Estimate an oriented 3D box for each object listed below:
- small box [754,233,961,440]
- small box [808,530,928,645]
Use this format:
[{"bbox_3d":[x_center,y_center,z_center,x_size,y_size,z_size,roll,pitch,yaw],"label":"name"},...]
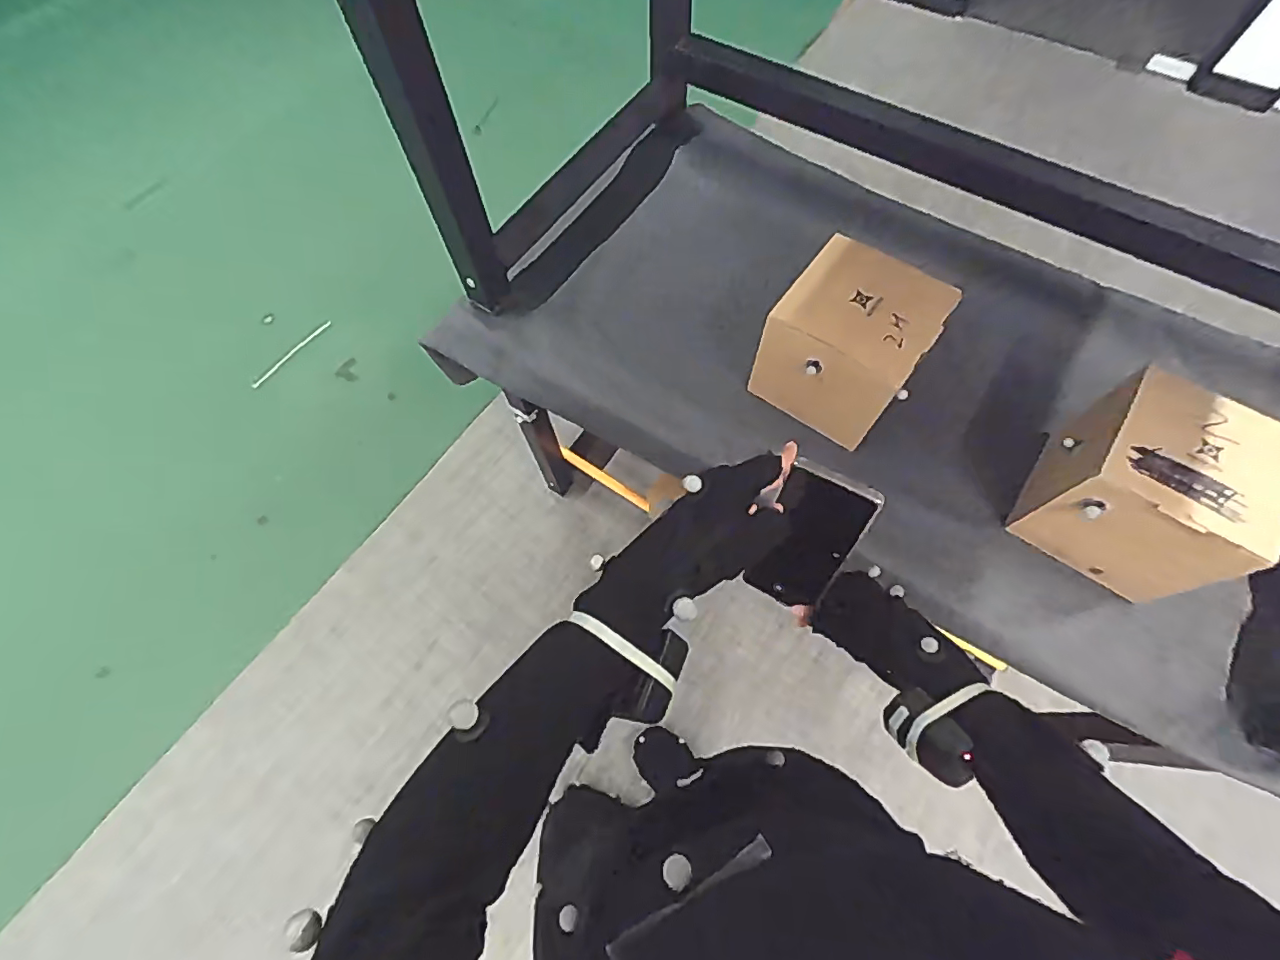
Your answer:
[{"bbox_3d":[0.273,-0.182,0.722,0.179,0.176,0.168,34,72,15],"label":"small box"},{"bbox_3d":[0.497,0.247,1.210,0.168,0.176,0.179,35,72,15],"label":"small box"}]
